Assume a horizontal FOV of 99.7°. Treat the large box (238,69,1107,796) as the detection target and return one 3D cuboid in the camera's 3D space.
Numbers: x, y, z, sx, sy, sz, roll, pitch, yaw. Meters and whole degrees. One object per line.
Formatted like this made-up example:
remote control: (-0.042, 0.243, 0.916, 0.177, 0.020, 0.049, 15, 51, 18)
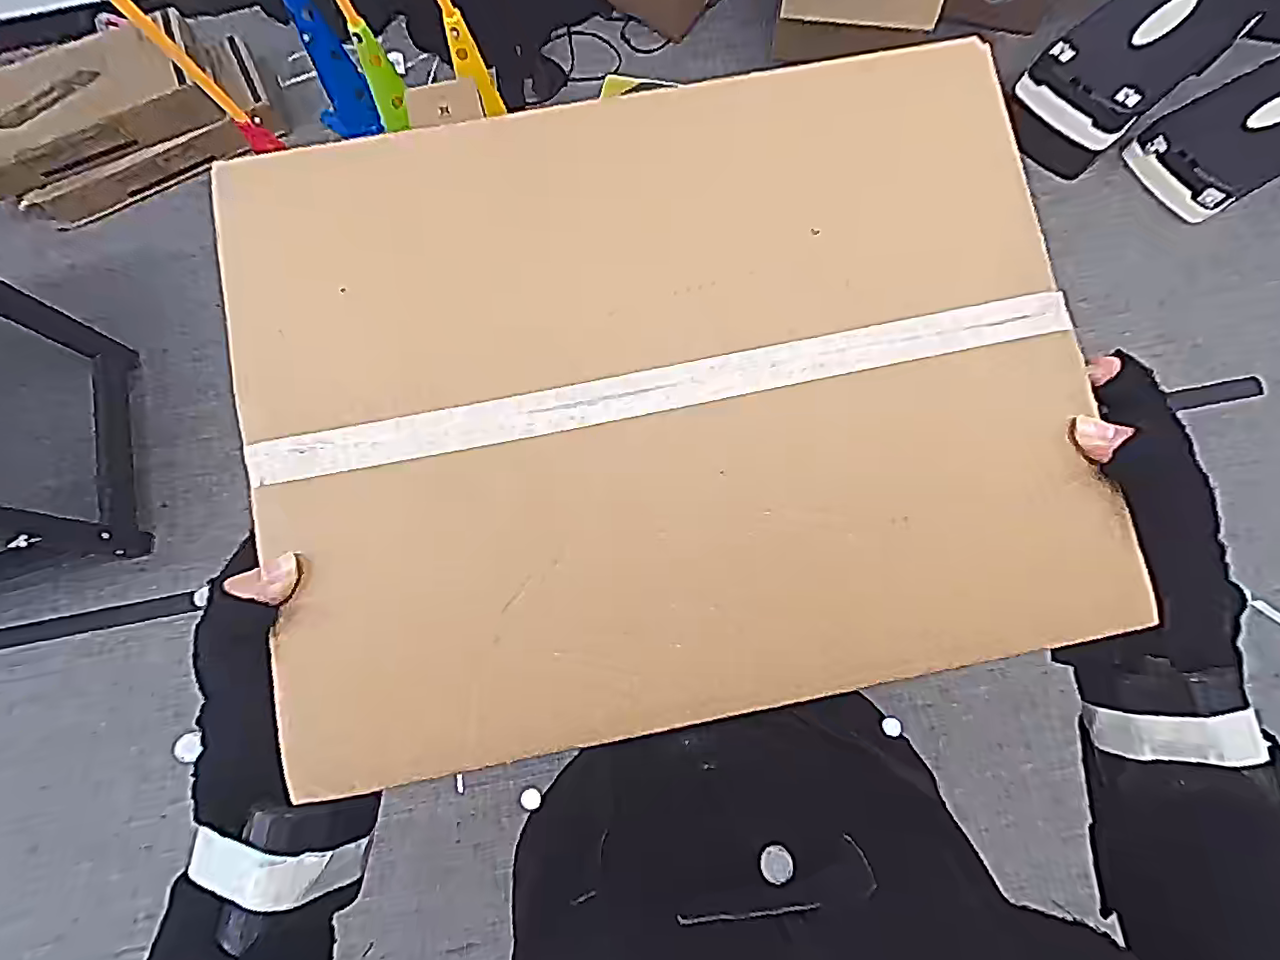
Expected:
large box: (0.011, -0.025, 0.424, 0.408, 0.320, 0.320, -11, 83, -2)
